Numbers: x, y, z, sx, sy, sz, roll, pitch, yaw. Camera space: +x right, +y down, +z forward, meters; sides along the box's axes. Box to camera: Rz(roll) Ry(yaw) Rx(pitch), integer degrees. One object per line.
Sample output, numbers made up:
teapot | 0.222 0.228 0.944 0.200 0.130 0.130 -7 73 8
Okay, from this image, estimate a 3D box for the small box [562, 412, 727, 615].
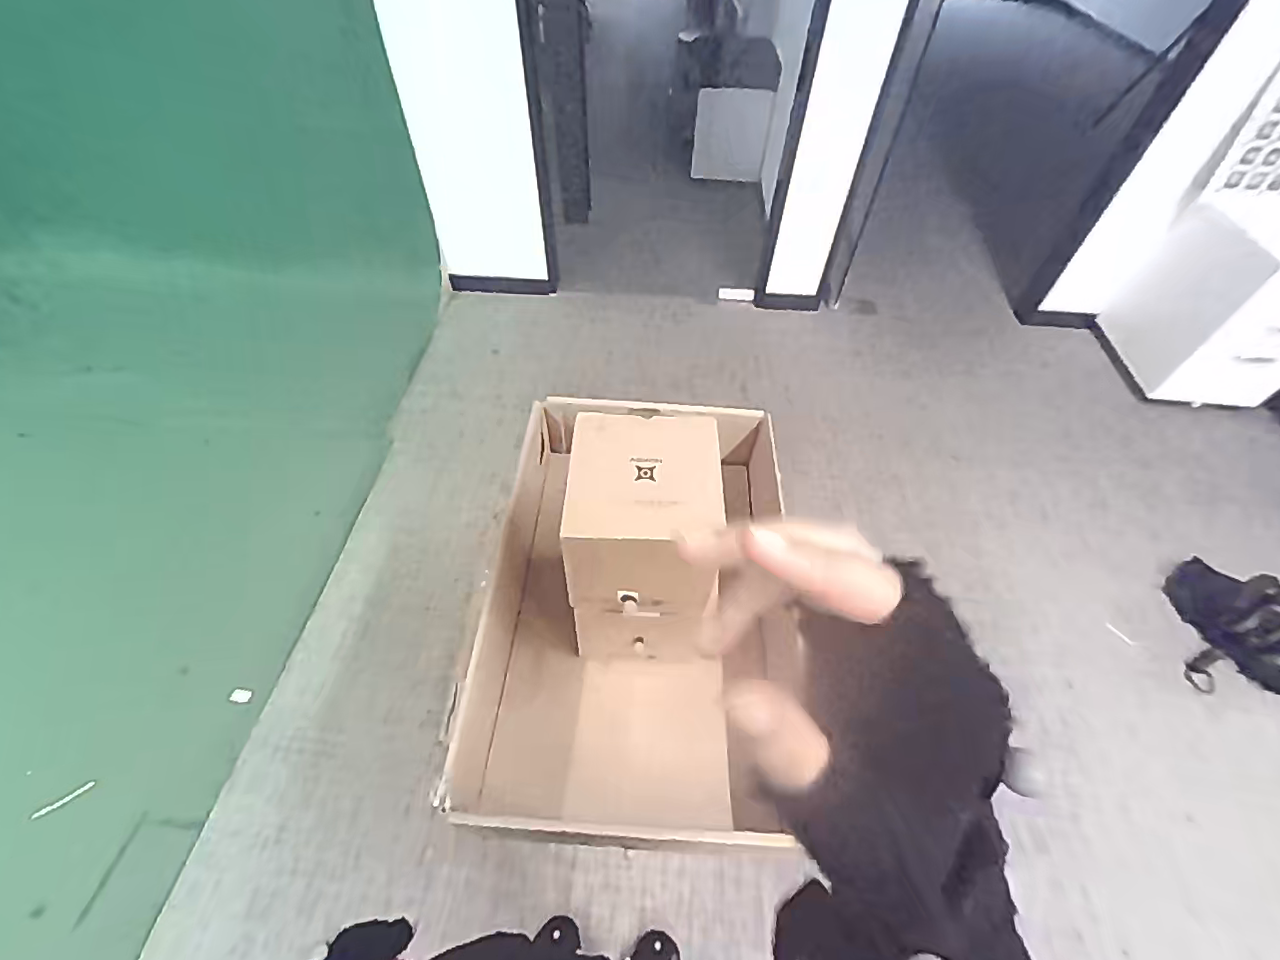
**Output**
small box | 0.003 0.041 0.641 0.168 0.176 0.179 2 52 0
